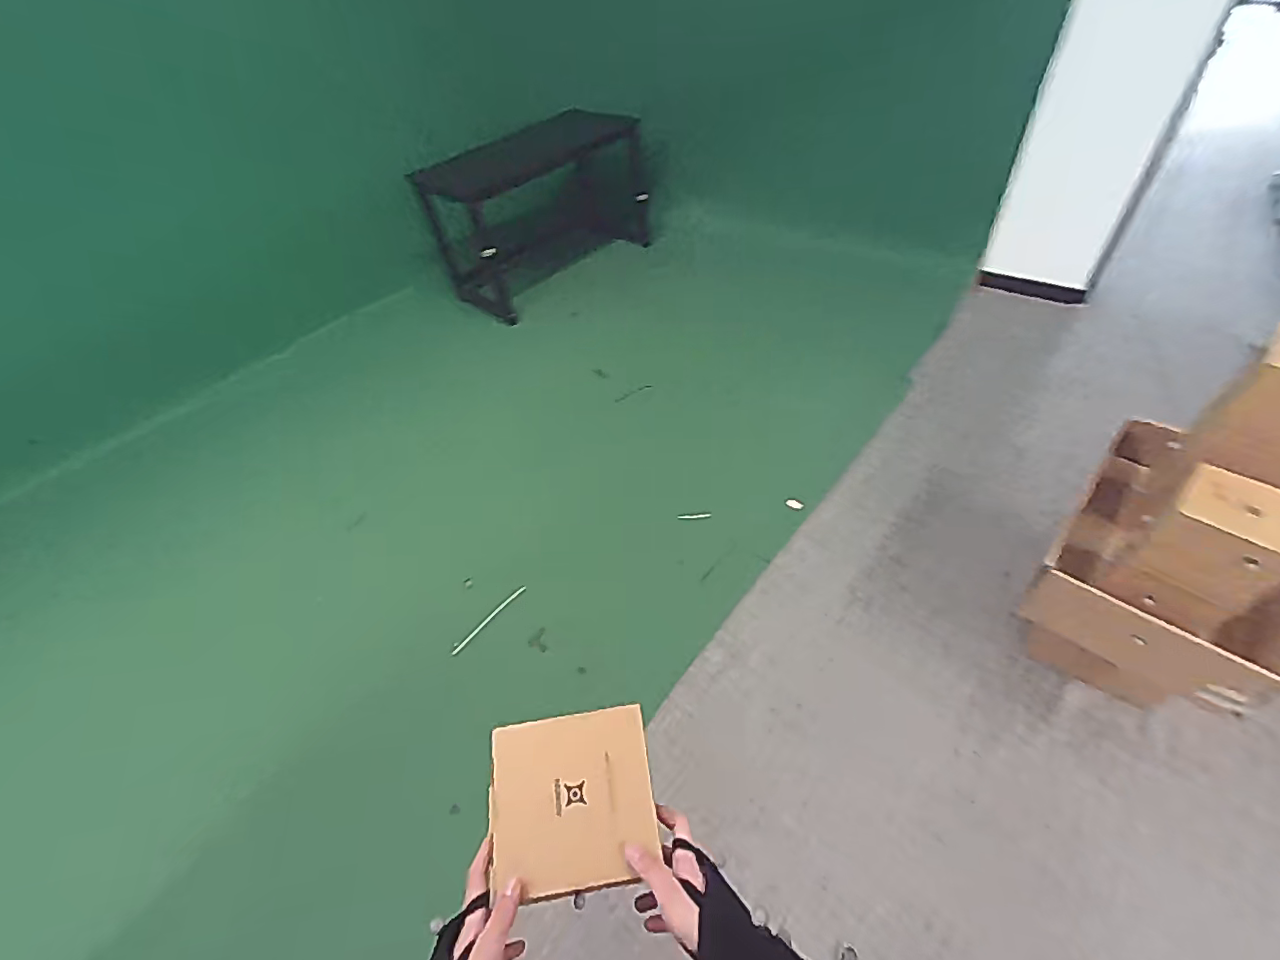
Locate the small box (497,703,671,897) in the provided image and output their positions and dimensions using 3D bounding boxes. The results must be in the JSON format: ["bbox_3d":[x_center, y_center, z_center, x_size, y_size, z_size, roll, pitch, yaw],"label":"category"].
[{"bbox_3d":[-0.059,0.381,0.640,0.179,0.176,0.168,-7,53,-3],"label":"small box"}]

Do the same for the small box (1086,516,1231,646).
[{"bbox_3d":[1.102,0.217,1.146,0.179,0.176,0.168,33,60,32],"label":"small box"}]

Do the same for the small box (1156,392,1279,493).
[{"bbox_3d":[1.261,-0.051,1.144,0.179,0.176,0.168,29,59,31],"label":"small box"}]

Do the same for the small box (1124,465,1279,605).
[{"bbox_3d":[1.084,0.110,1.021,0.168,0.176,0.179,-38,53,-25],"label":"small box"}]

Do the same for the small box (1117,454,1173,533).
[{"bbox_3d":[1.284,0.056,1.267,0.179,0.176,0.168,32,60,31],"label":"small box"}]
